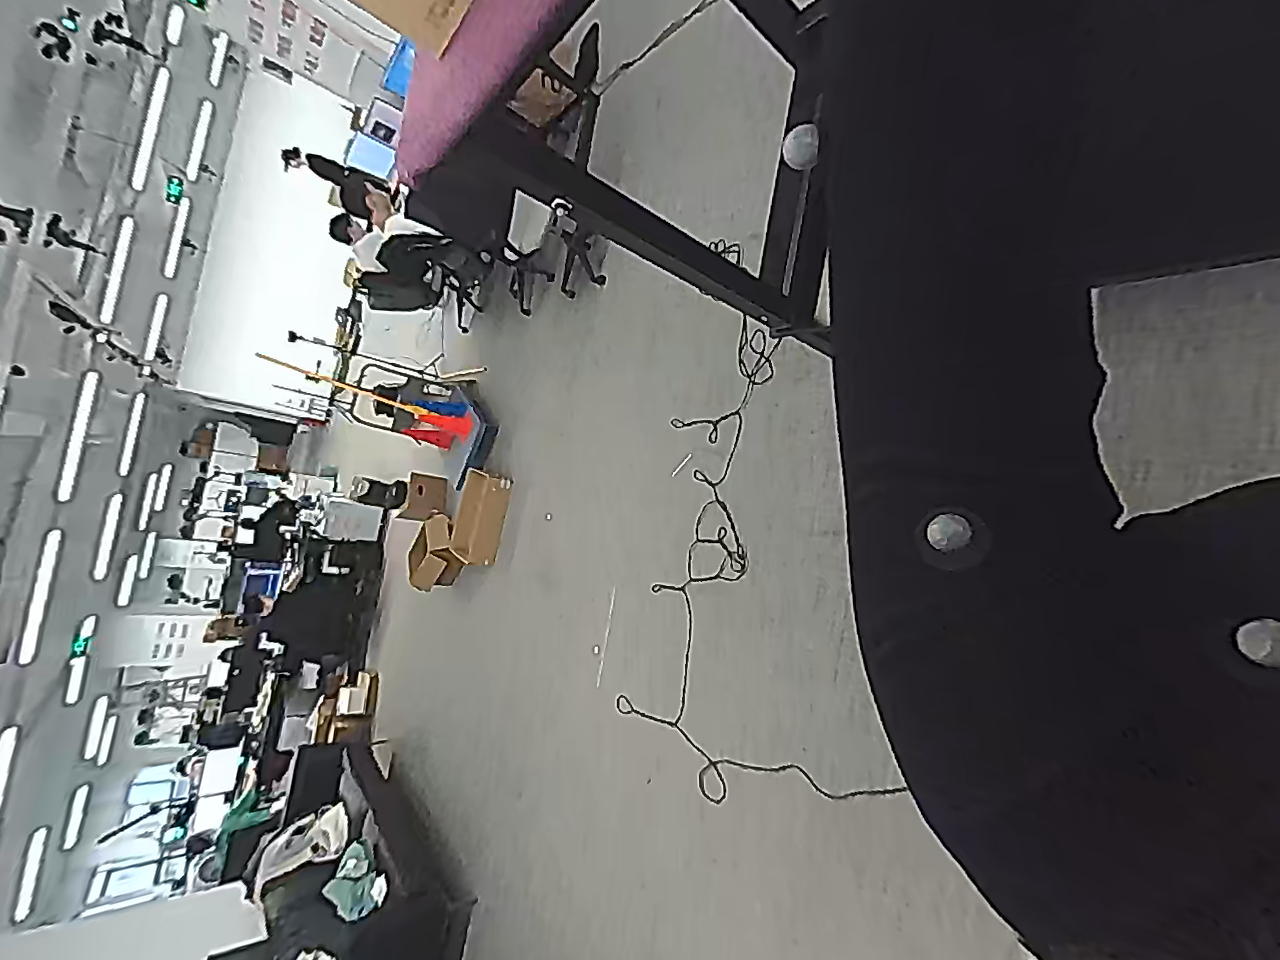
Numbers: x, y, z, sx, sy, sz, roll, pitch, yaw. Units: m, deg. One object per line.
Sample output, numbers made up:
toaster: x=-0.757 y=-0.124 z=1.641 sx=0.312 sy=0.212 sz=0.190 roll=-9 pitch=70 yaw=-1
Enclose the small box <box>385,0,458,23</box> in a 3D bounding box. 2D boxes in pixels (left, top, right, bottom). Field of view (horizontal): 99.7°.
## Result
small box: x=-0.214 y=-0.560 z=0.472 sx=0.168 sy=0.176 sz=0.179 roll=5 pitch=84 yaw=51
